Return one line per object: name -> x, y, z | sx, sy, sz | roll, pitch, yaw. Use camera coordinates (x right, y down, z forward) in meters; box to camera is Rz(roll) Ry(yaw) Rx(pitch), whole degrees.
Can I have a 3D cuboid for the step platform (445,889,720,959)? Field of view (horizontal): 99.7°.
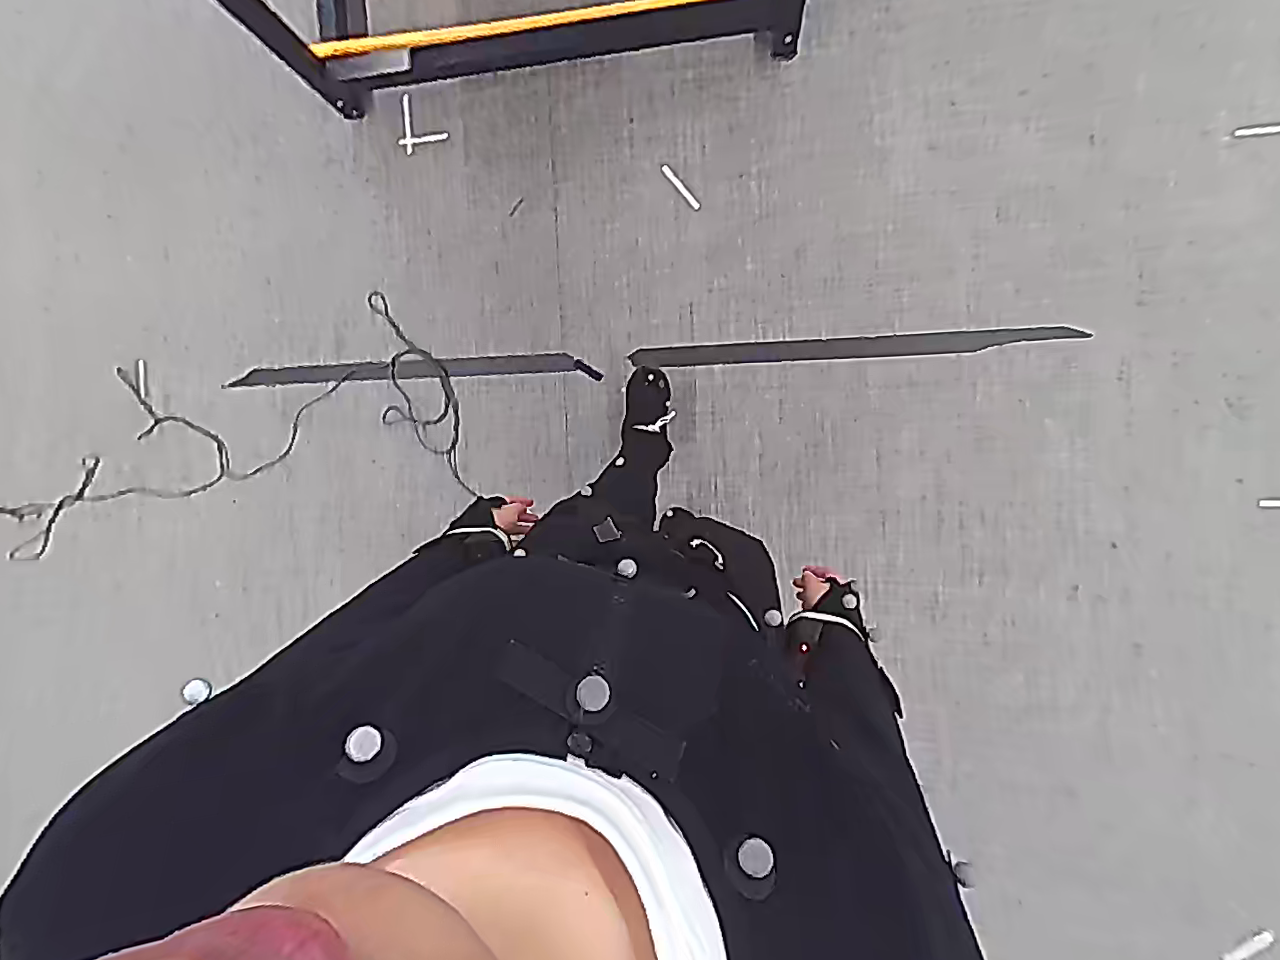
step platform -> -0.142, 1.248, 1.344 | 0.684, 0.204, 0.286 | -2, 92, 7
